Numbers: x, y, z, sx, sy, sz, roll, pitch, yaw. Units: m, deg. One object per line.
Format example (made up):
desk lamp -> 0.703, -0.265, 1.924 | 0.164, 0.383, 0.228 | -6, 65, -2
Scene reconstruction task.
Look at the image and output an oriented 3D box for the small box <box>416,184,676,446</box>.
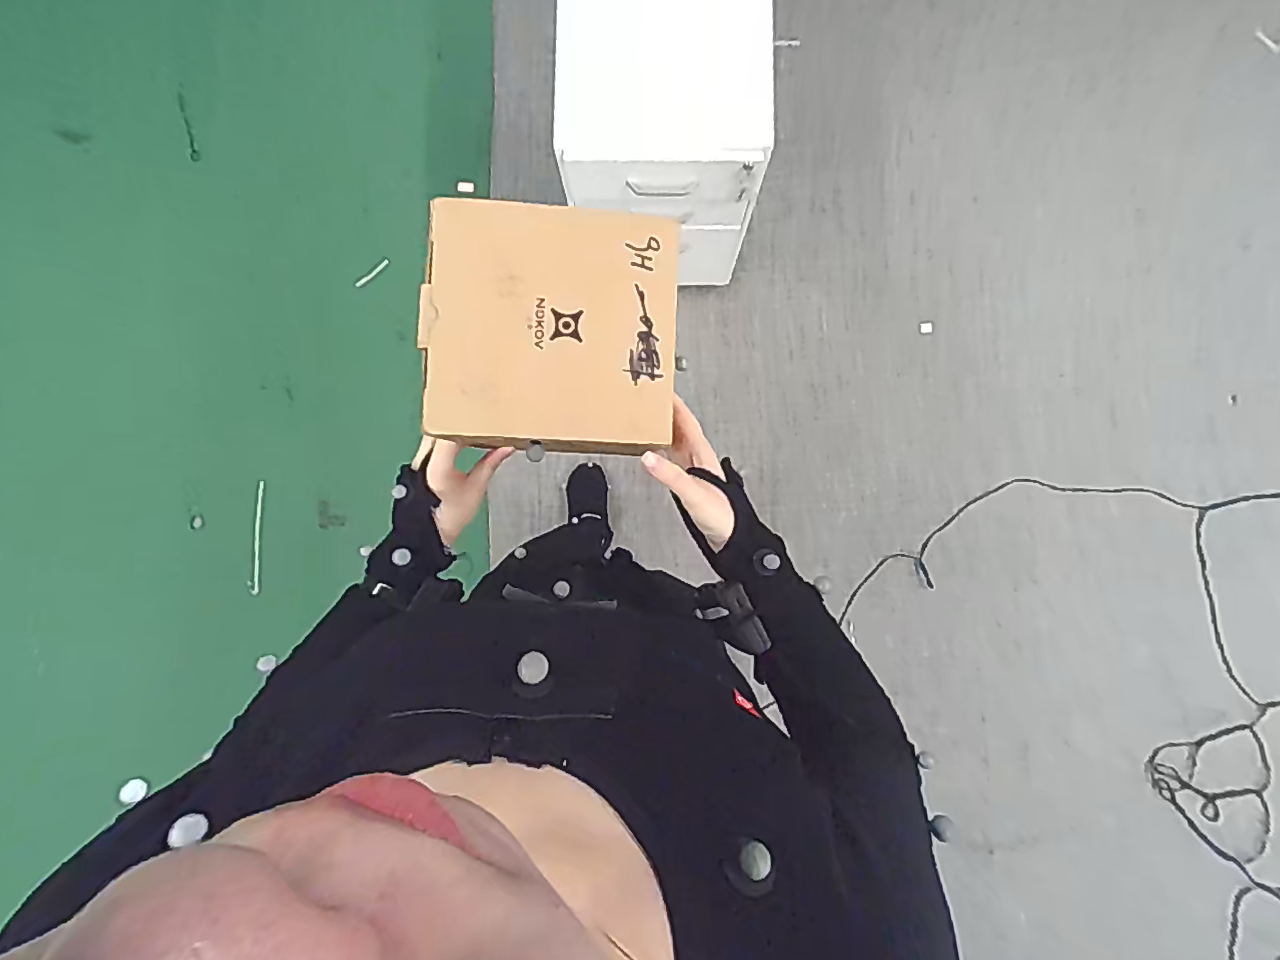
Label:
small box -> -0.071, -0.119, 0.460 | 0.179, 0.176, 0.168 | 3, 89, -6
